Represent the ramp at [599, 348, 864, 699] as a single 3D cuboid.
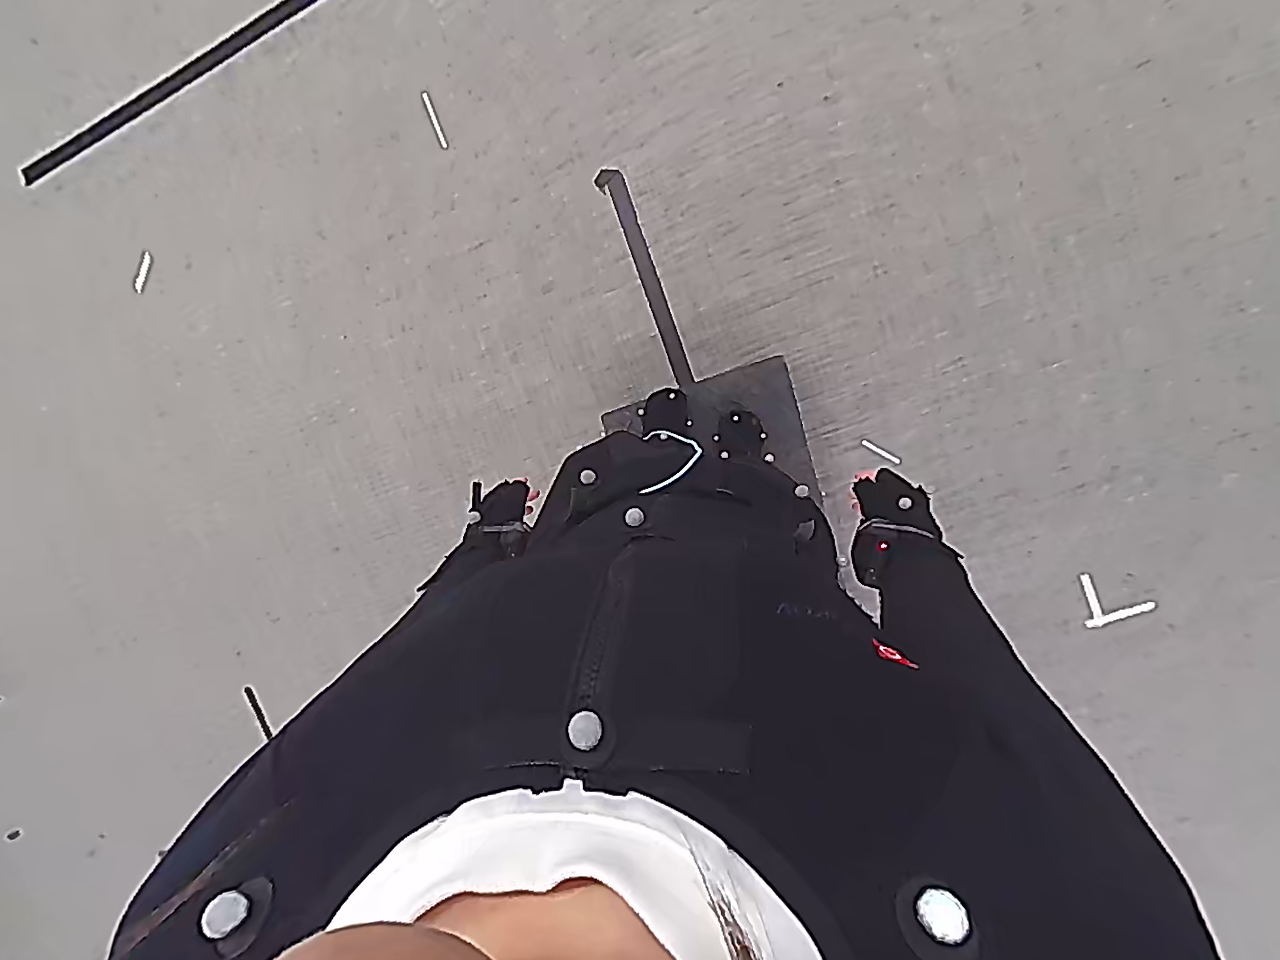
[{"bbox_3d":[0.285,0.182,1.521,0.509,0.206,0.991,-19,98,10],"label":"ramp"}]
